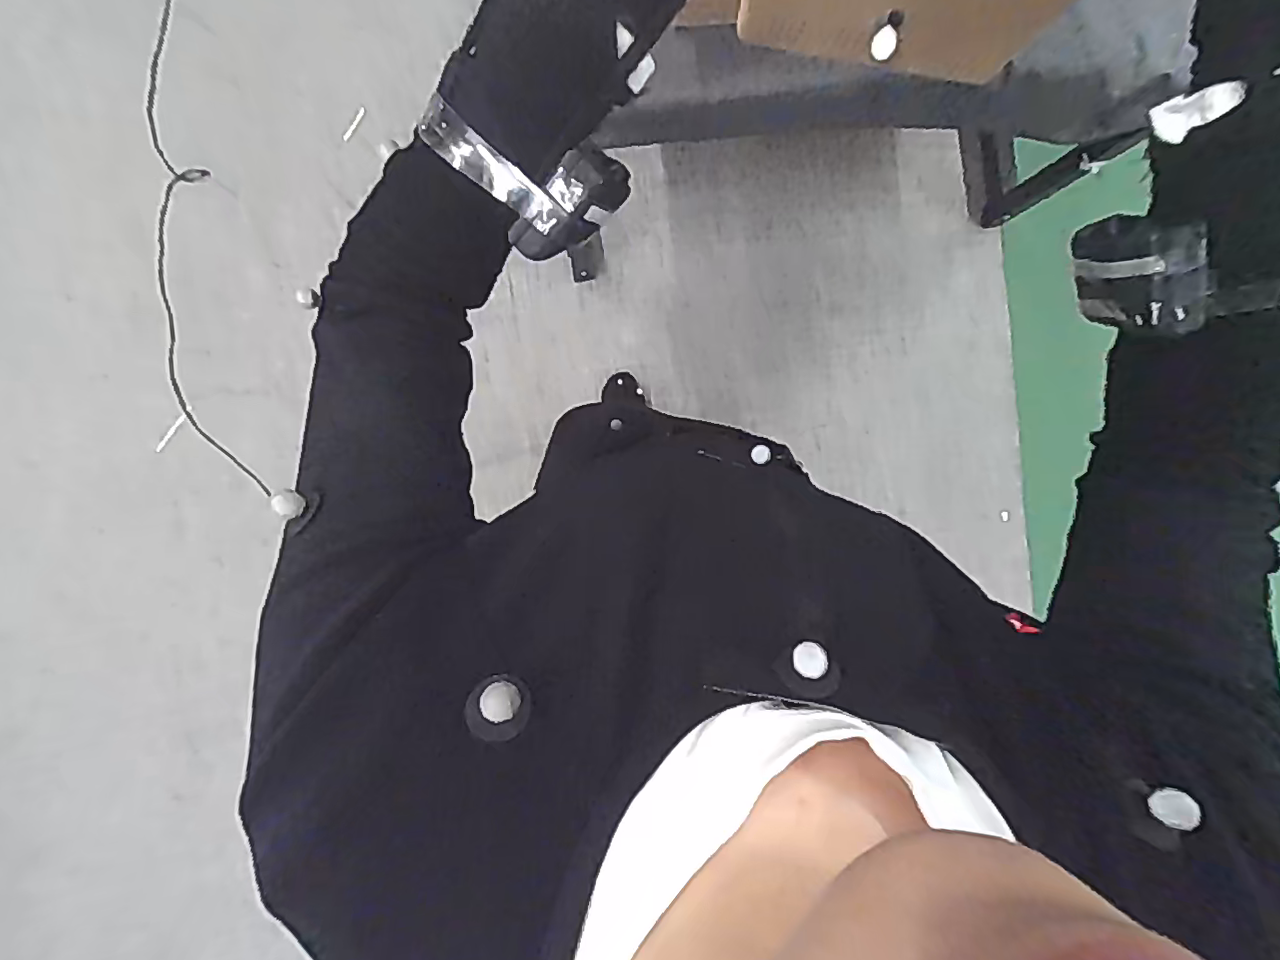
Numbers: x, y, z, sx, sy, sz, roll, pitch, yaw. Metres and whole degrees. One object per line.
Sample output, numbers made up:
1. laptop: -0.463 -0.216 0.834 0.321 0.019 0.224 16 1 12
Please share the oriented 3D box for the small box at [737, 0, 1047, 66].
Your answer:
1. small box: 0.163 -0.358 0.279 0.179 0.176 0.168 8 98 -3
